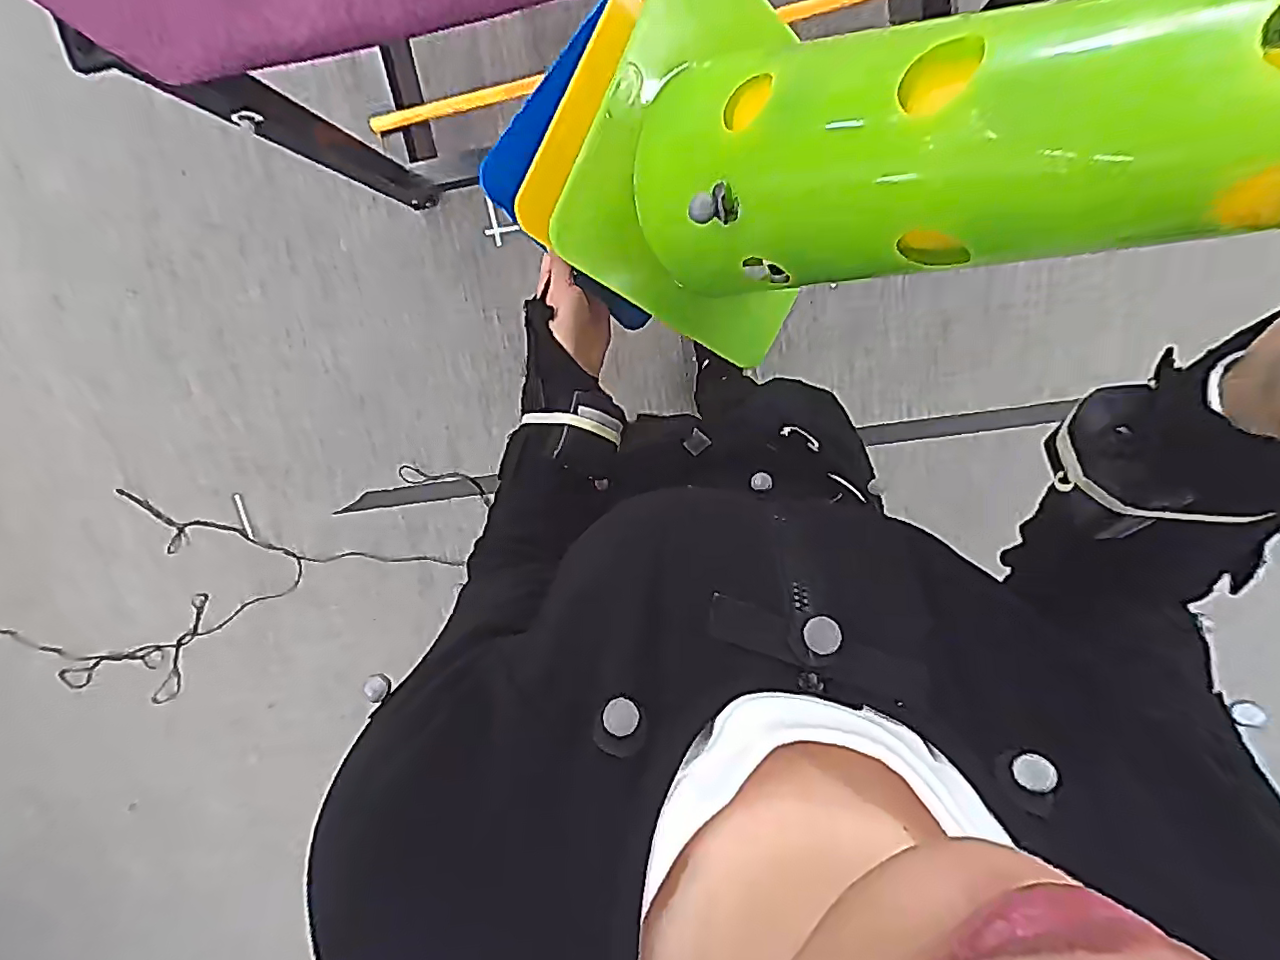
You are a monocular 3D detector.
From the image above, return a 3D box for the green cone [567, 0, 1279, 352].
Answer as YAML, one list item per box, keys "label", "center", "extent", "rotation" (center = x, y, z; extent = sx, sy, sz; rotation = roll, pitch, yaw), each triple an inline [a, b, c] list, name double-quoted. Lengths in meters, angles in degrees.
- label: "green cone"
  center: [0.142, -0.144, 0.217]
  extent: [0.200, 0.368, 0.202]
  rotation: [20, 102, -33]
